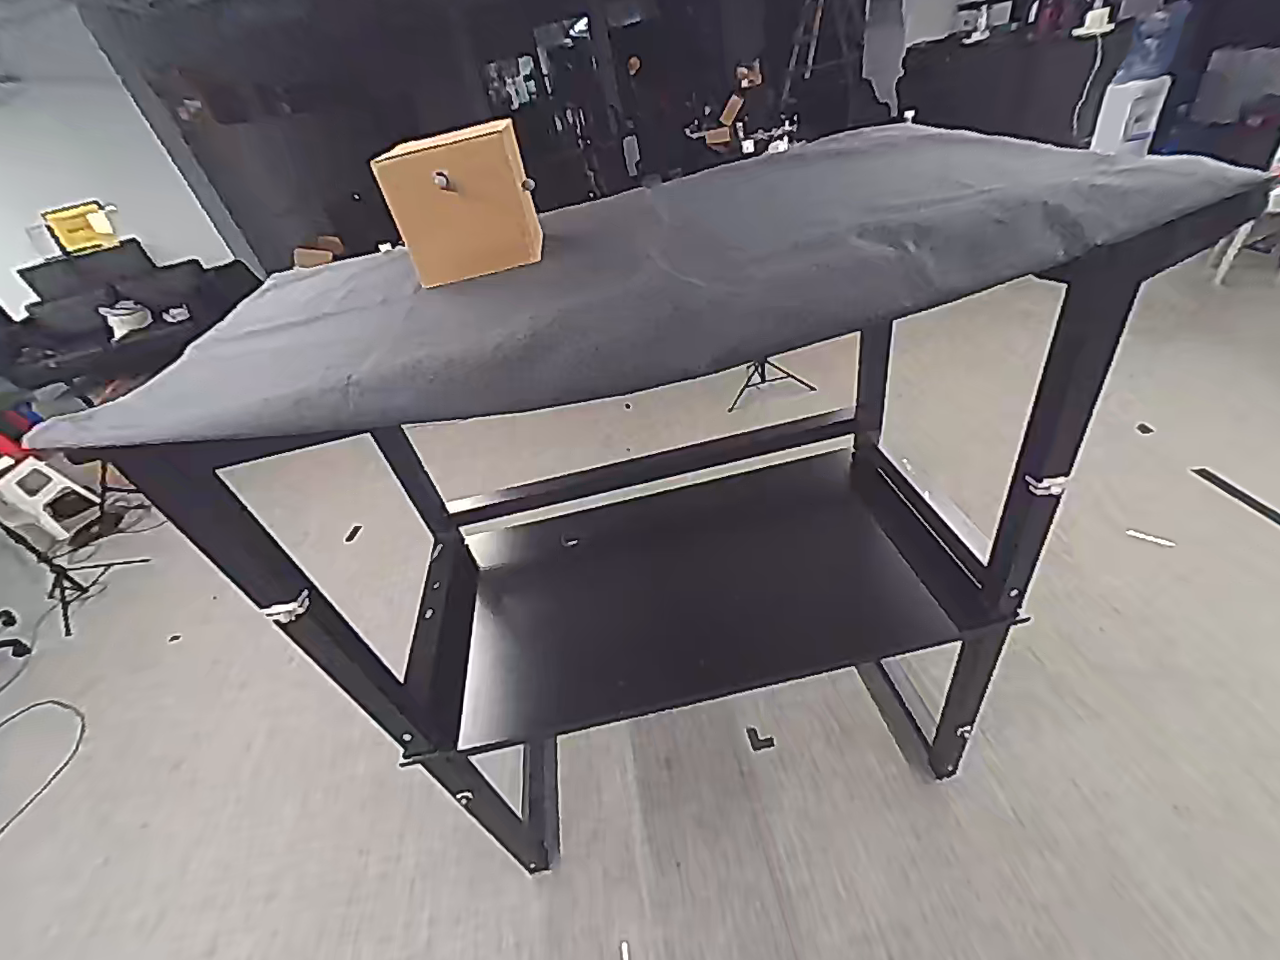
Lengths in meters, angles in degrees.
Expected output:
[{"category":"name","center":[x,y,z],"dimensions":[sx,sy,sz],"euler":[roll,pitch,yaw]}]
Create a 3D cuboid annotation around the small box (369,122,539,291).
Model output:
[{"category":"small box","center":[-0.254,-0.399,0.792],"dimensions":[0.179,0.176,0.168],"euler":[-13,38,1]}]
